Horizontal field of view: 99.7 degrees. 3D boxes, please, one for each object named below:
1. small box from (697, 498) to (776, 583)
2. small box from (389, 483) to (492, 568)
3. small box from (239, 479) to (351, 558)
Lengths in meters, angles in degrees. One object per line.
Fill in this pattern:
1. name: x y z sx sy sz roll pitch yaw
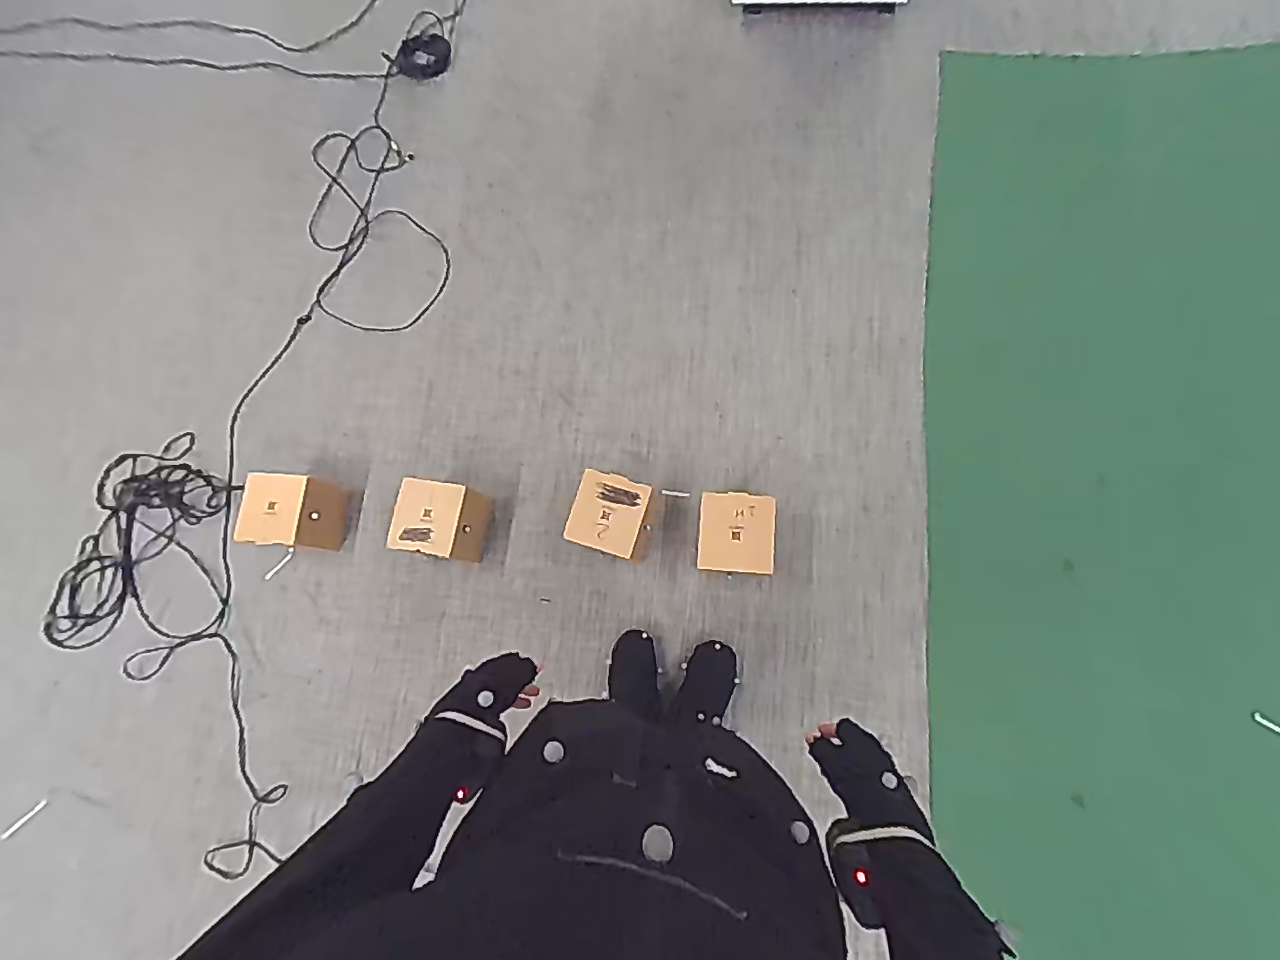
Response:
1. small box: 0.222 0.148 1.269 0.168 0.176 0.179 4 78 7
2. small box: -0.490 0.120 1.358 0.168 0.176 0.179 8 78 9
3. small box: -0.889 0.103 1.412 0.168 0.176 0.179 3 78 8
